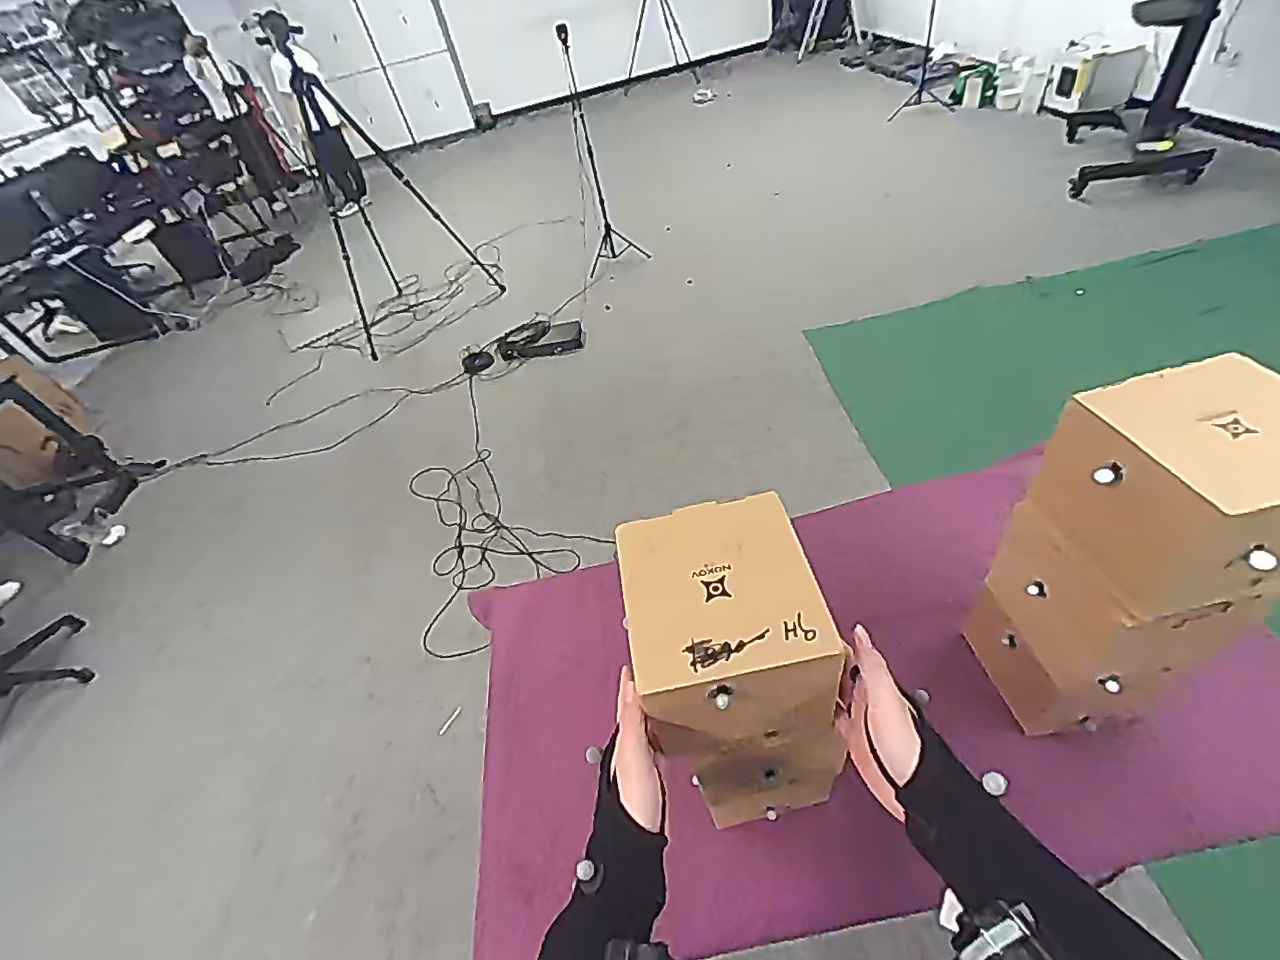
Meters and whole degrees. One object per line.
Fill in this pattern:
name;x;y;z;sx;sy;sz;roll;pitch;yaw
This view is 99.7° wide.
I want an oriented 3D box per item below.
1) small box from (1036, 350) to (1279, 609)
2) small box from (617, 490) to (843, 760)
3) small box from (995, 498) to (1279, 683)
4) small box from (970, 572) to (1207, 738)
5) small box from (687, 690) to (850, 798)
small box;0.541;0.007;0.530;0.168;0.176;0.179;-15;42;3
small box;0.080;0.141;0.525;0.168;0.176;0.179;-13;45;3
small box;0.565;0.122;0.642;0.168;0.176;0.179;-14;43;4
small box;0.600;0.232;0.758;0.168;0.176;0.179;-14;44;5
small box;0.128;0.252;0.637;0.168;0.176;0.179;-15;45;1
